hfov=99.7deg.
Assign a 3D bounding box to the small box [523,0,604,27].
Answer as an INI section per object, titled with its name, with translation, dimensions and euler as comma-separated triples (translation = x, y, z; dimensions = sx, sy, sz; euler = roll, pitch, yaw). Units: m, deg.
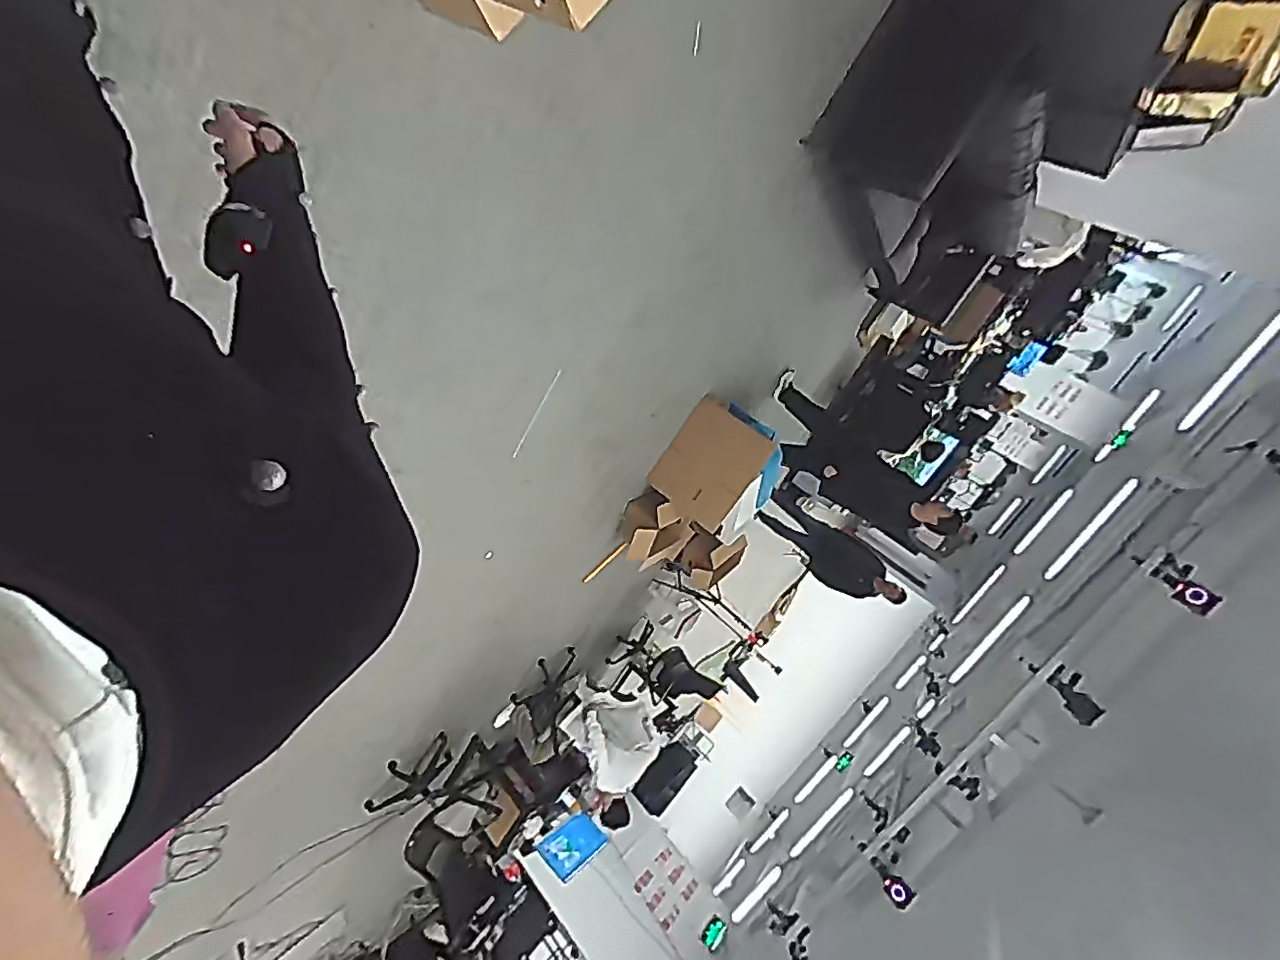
[small box]
translation = -0.137, -0.954, 0.944
dimensions = 0.179, 0.176, 0.168
euler = -49, 155, -1
